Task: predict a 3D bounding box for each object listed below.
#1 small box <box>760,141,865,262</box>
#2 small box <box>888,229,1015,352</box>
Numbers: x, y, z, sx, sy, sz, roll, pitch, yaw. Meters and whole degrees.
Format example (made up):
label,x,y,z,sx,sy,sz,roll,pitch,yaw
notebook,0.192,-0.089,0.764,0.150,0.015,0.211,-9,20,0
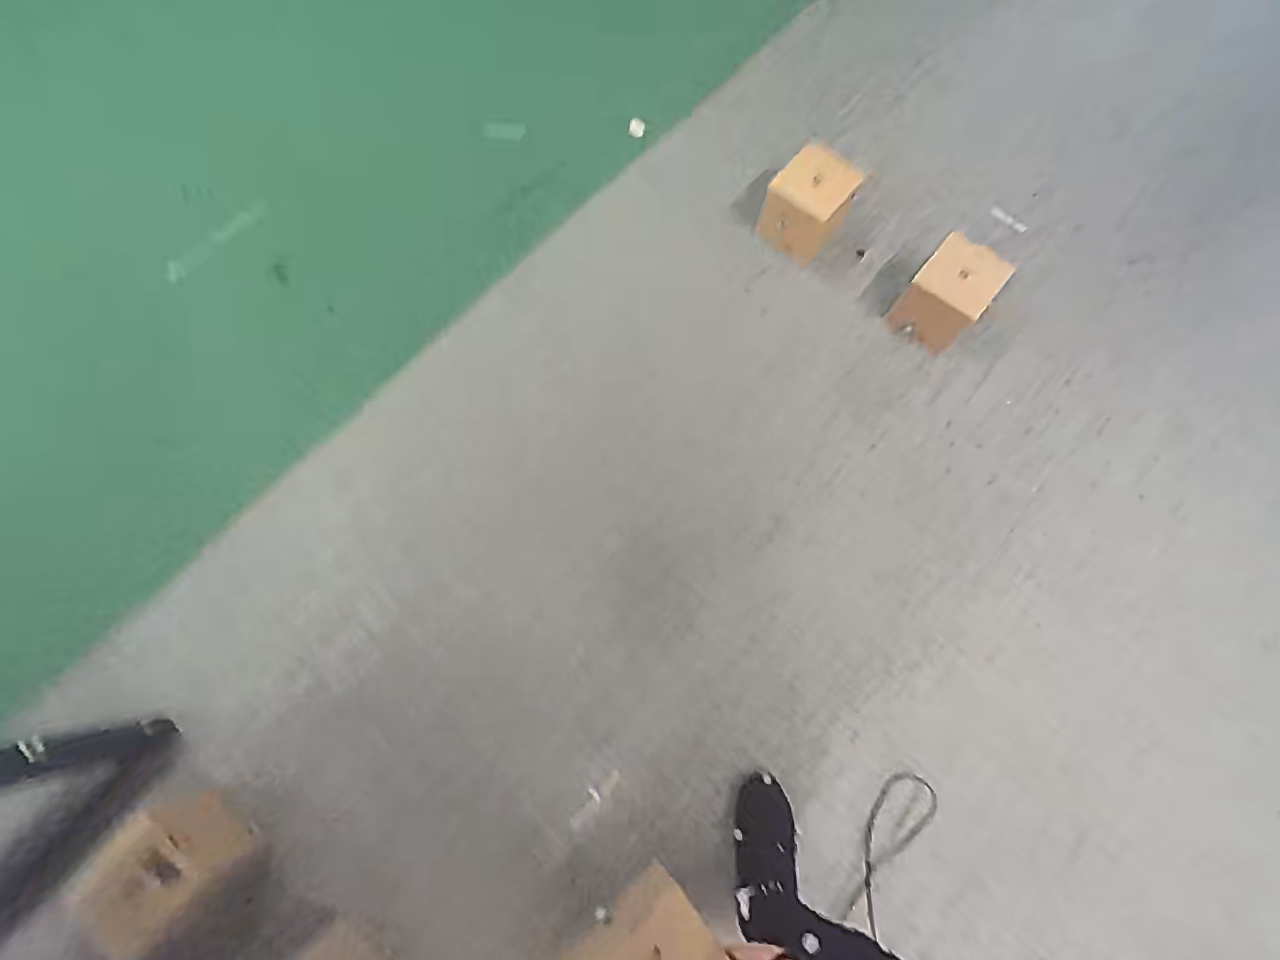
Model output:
label,x,y,z,sx,sy,sz,roll,pitch,yaw
small box,0.421,-0.691,1.358,0.168,0.176,0.179,39,77,11
small box,0.728,-0.444,1.286,0.168,0.176,0.179,39,78,11
